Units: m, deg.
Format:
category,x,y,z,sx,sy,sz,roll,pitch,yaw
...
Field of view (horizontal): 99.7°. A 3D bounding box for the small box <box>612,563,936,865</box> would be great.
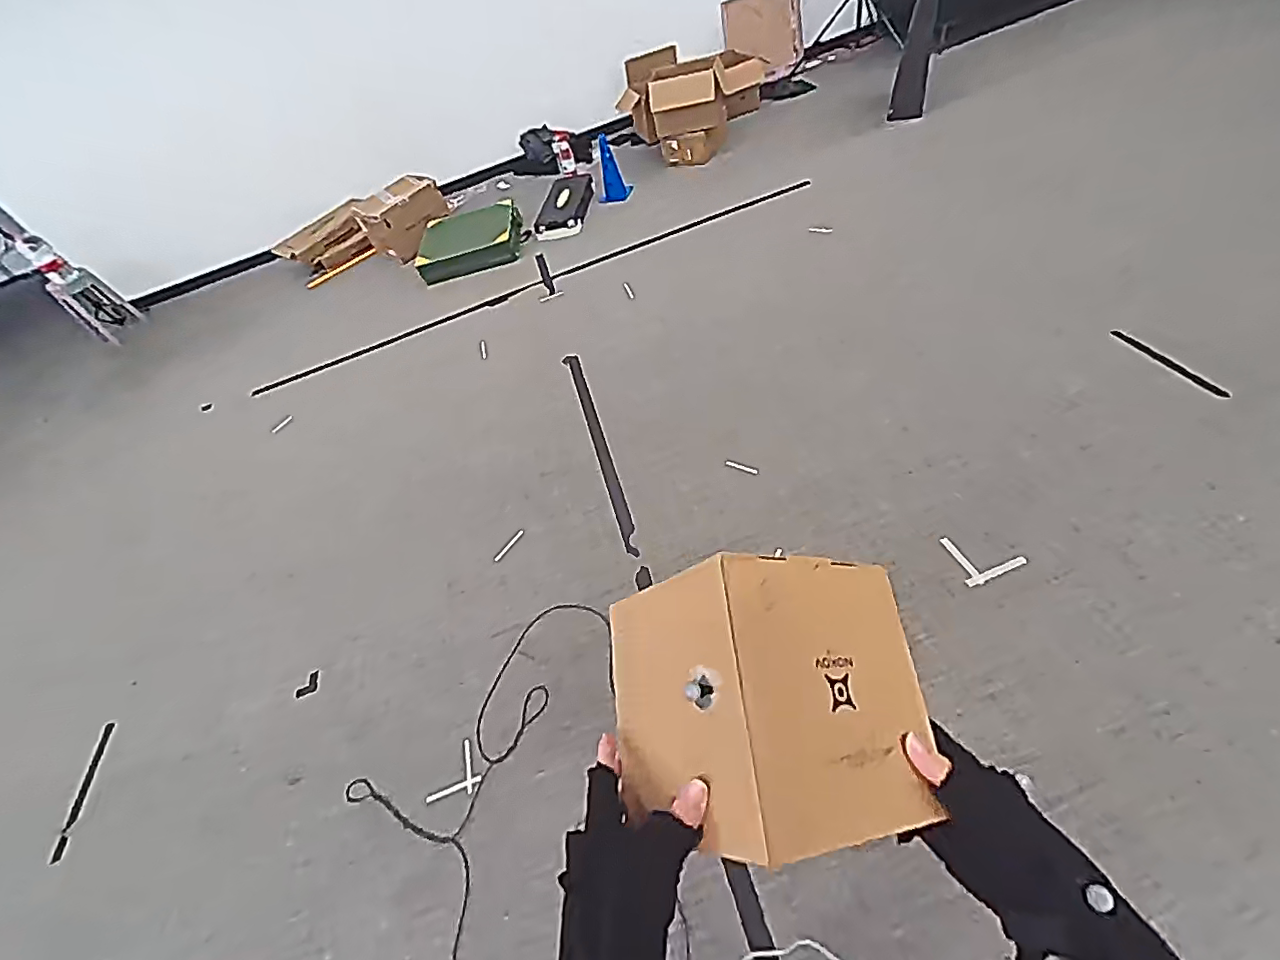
category,x,y,z,sx,sy,sz,roll,pitch,yaw
small box,0.087,0.179,0.430,0.168,0.176,0.179,9,62,-29
